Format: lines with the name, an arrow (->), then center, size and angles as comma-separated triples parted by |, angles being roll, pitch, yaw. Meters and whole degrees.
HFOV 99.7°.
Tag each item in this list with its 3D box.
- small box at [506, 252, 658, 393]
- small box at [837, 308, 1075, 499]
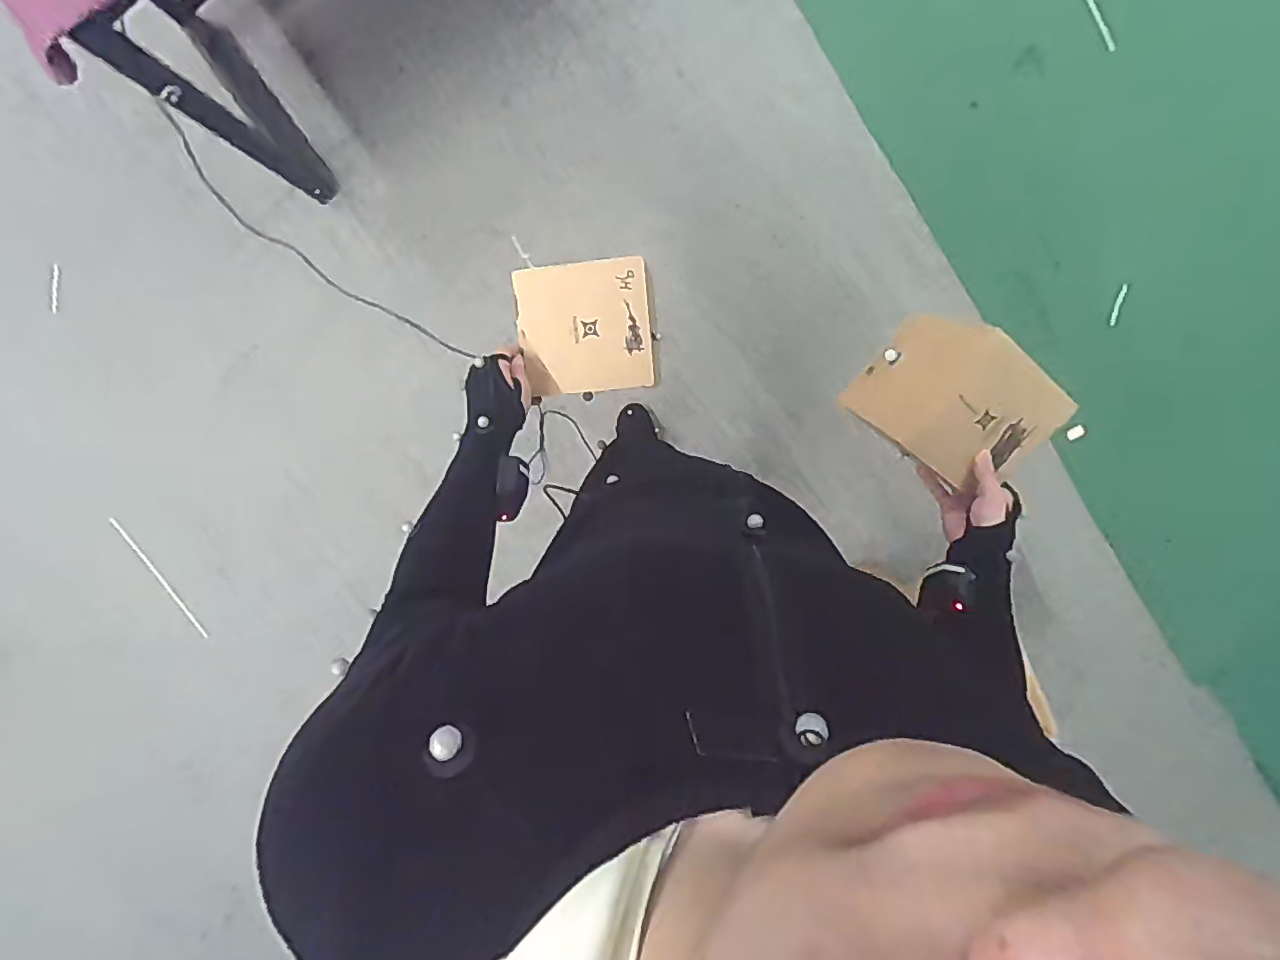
small box -> -0.073, -0.214, 0.780 | 0.179, 0.176, 0.168 | -4, 99, 7
small box -> 0.405, -0.110, 0.723 | 0.179, 0.176, 0.168 | 31, 107, -20
